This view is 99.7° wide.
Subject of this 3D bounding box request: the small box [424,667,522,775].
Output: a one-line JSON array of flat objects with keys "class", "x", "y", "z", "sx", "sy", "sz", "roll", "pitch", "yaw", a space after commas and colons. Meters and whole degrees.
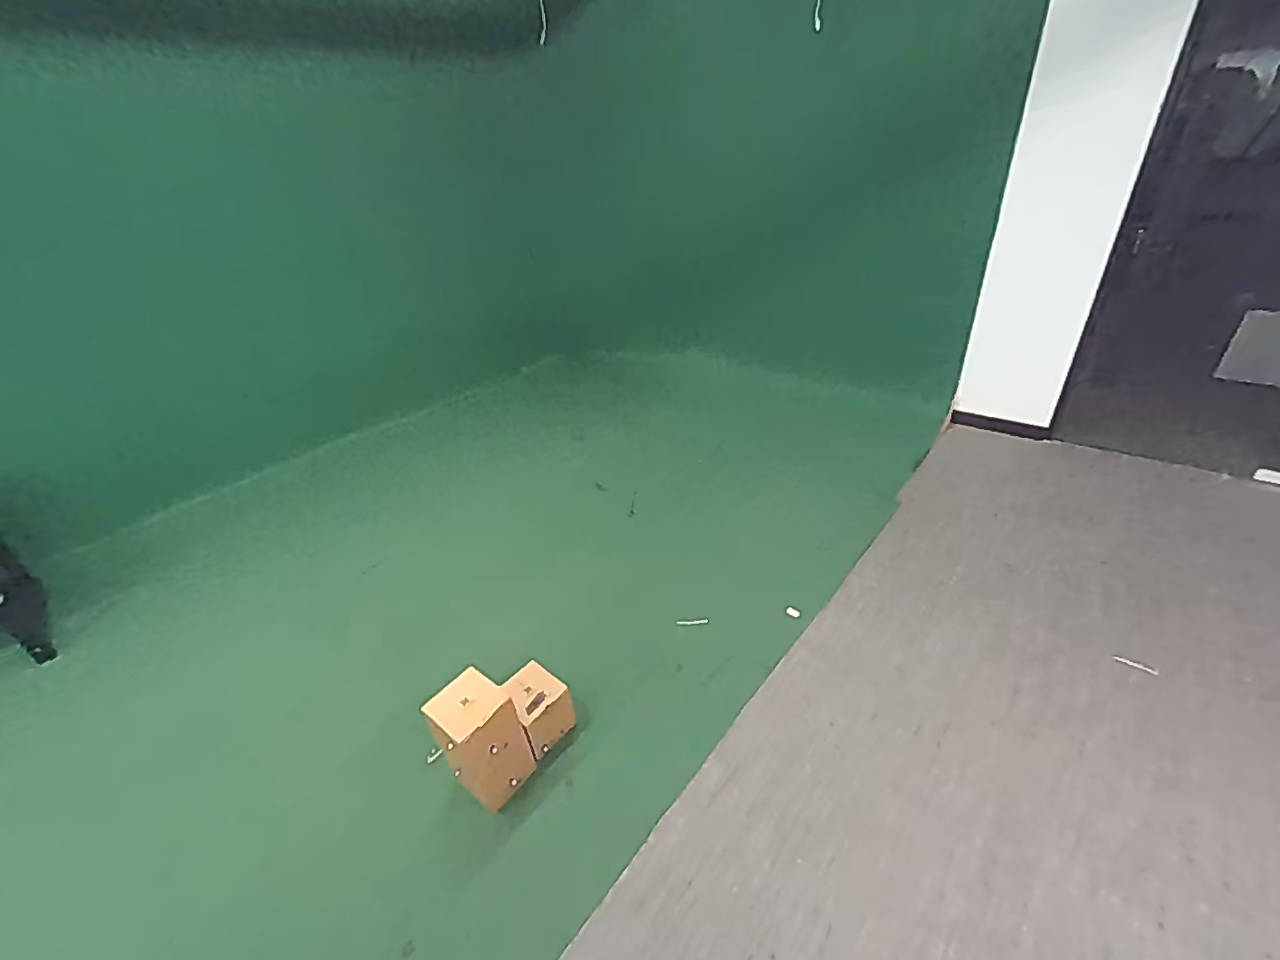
[{"class": "small box", "x": -0.444, "y": 0.649, "z": 1.454, "sx": 0.179, "sy": 0.176, "sz": 0.168, "roll": 19, "pitch": 40, "yaw": 33}]
